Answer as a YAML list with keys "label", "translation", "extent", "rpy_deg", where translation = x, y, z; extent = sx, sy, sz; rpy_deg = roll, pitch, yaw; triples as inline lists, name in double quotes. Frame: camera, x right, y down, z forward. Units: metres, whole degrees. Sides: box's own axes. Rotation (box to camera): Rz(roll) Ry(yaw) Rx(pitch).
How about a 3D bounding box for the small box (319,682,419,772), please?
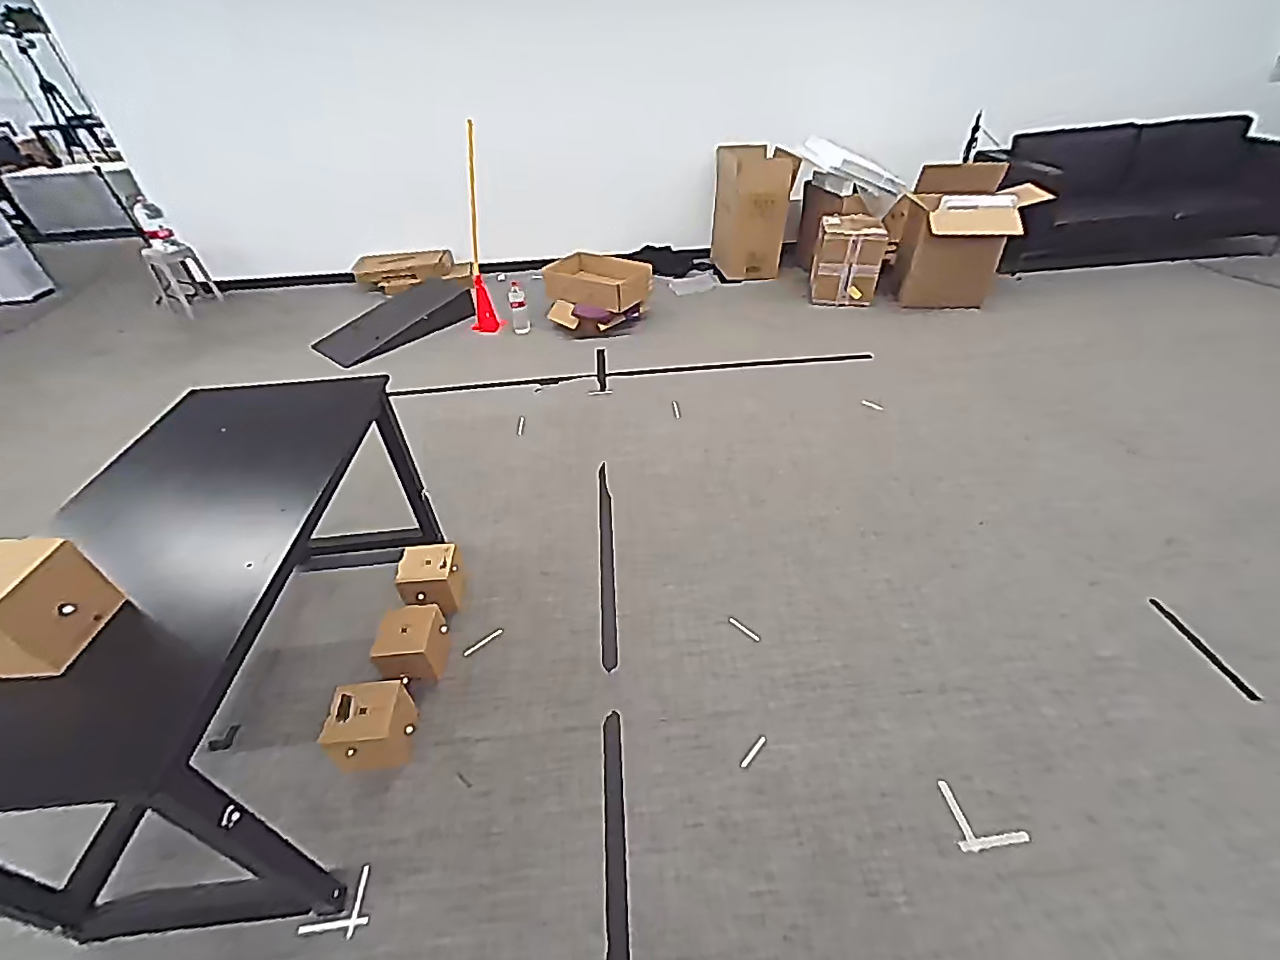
- label: "small box"
  translation: [-0.739, 0.685, 1.494]
  extent: [0.179, 0.176, 0.168]
  rpy_deg: [-5, 40, -3]

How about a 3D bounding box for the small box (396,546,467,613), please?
- label: "small box"
  translation: [-0.723, 0.355, 1.894]
  extent: [0.179, 0.176, 0.168]
  rpy_deg: [-6, 40, -2]

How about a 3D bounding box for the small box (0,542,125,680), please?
- label: "small box"
  translation: [-1.065, 0.226, 0.927]
  extent: [0.179, 0.176, 0.168]
  rpy_deg: [-3, 39, 0]

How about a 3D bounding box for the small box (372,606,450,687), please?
- label: "small box"
  translation: [-0.706, 0.522, 1.692]
  extent: [0.168, 0.176, 0.179]
  rpy_deg: [-6, 40, -2]
